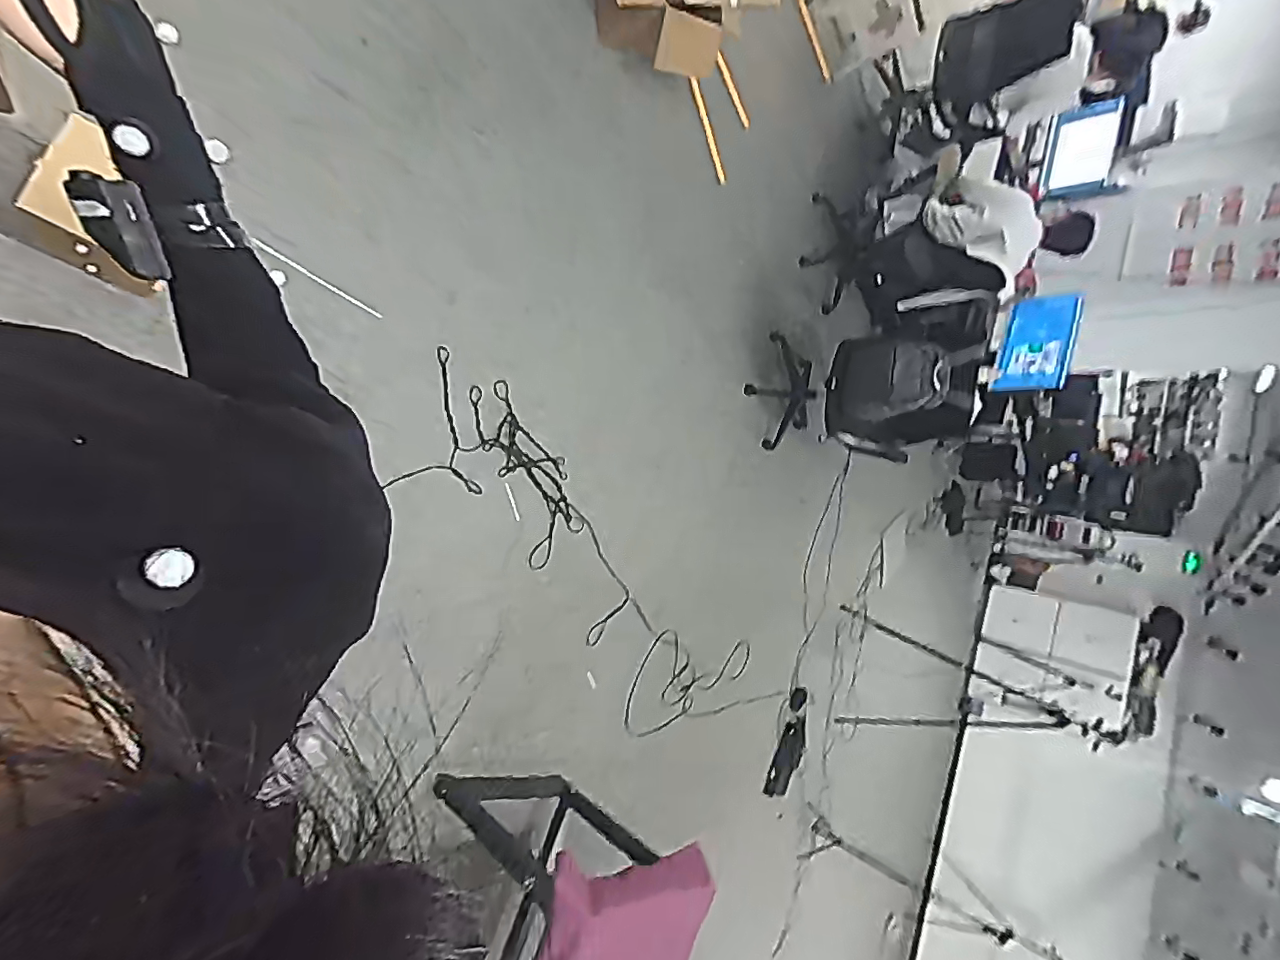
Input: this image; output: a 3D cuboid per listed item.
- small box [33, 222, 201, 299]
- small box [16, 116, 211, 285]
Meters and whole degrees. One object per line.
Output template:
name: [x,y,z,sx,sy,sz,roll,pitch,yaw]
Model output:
small box: [-0.979,-0.460,1.015,0.179,0.176,0.168,31,75,-46]
small box: [-0.866,-0.443,0.896,0.179,0.176,0.168,31,75,-46]
